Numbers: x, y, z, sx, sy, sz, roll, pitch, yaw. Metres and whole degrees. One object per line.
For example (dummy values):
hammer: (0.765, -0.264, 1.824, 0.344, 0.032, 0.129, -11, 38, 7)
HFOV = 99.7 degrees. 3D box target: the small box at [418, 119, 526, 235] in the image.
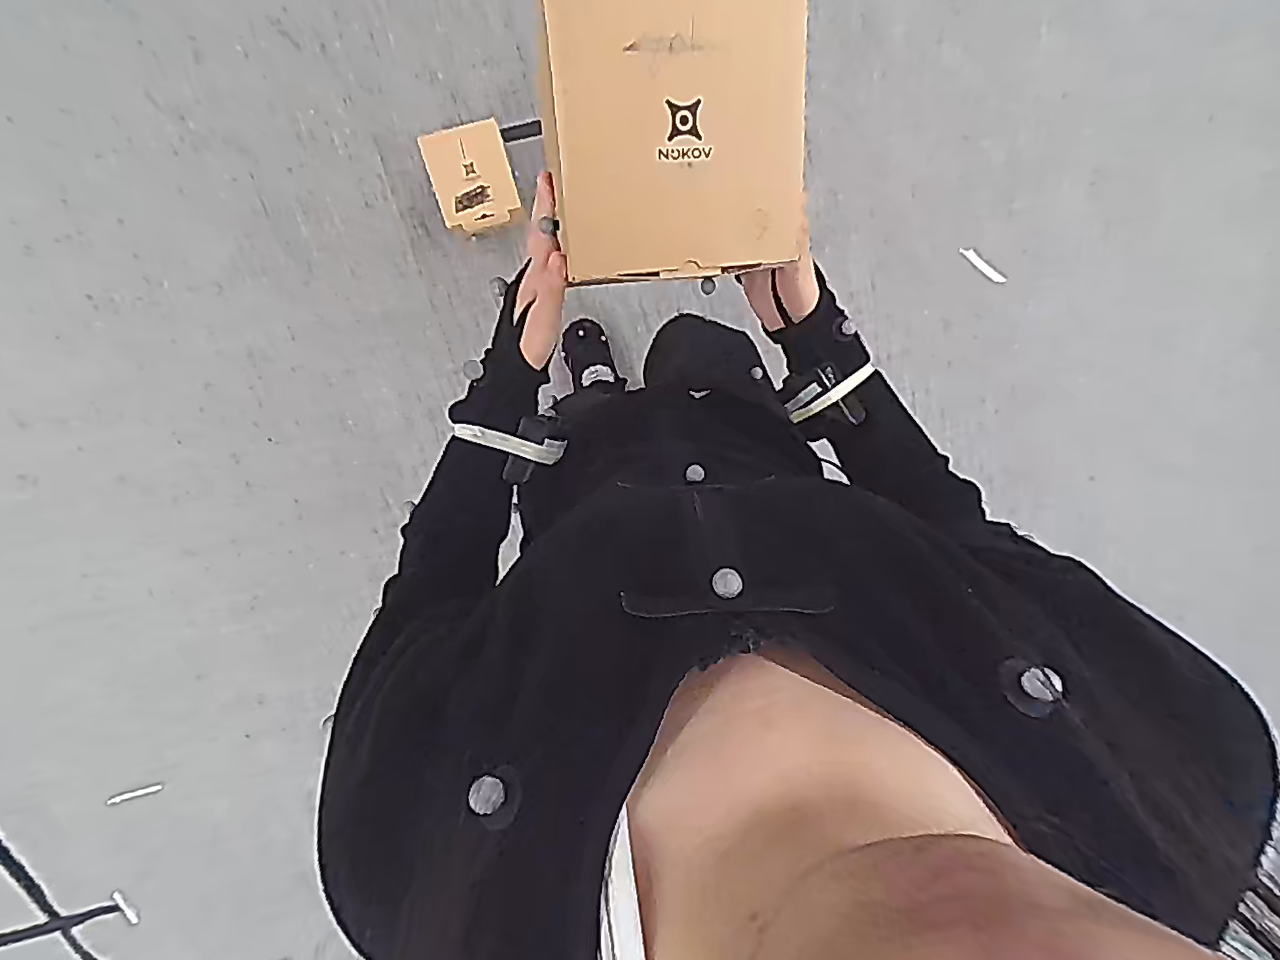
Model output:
small box: (-0.357, -0.654, 1.192, 0.168, 0.176, 0.179, -17, 107, -3)

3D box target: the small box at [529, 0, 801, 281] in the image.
small box: (0.009, -0.251, 0.418, 0.168, 0.176, 0.179, -9, 109, -9)
